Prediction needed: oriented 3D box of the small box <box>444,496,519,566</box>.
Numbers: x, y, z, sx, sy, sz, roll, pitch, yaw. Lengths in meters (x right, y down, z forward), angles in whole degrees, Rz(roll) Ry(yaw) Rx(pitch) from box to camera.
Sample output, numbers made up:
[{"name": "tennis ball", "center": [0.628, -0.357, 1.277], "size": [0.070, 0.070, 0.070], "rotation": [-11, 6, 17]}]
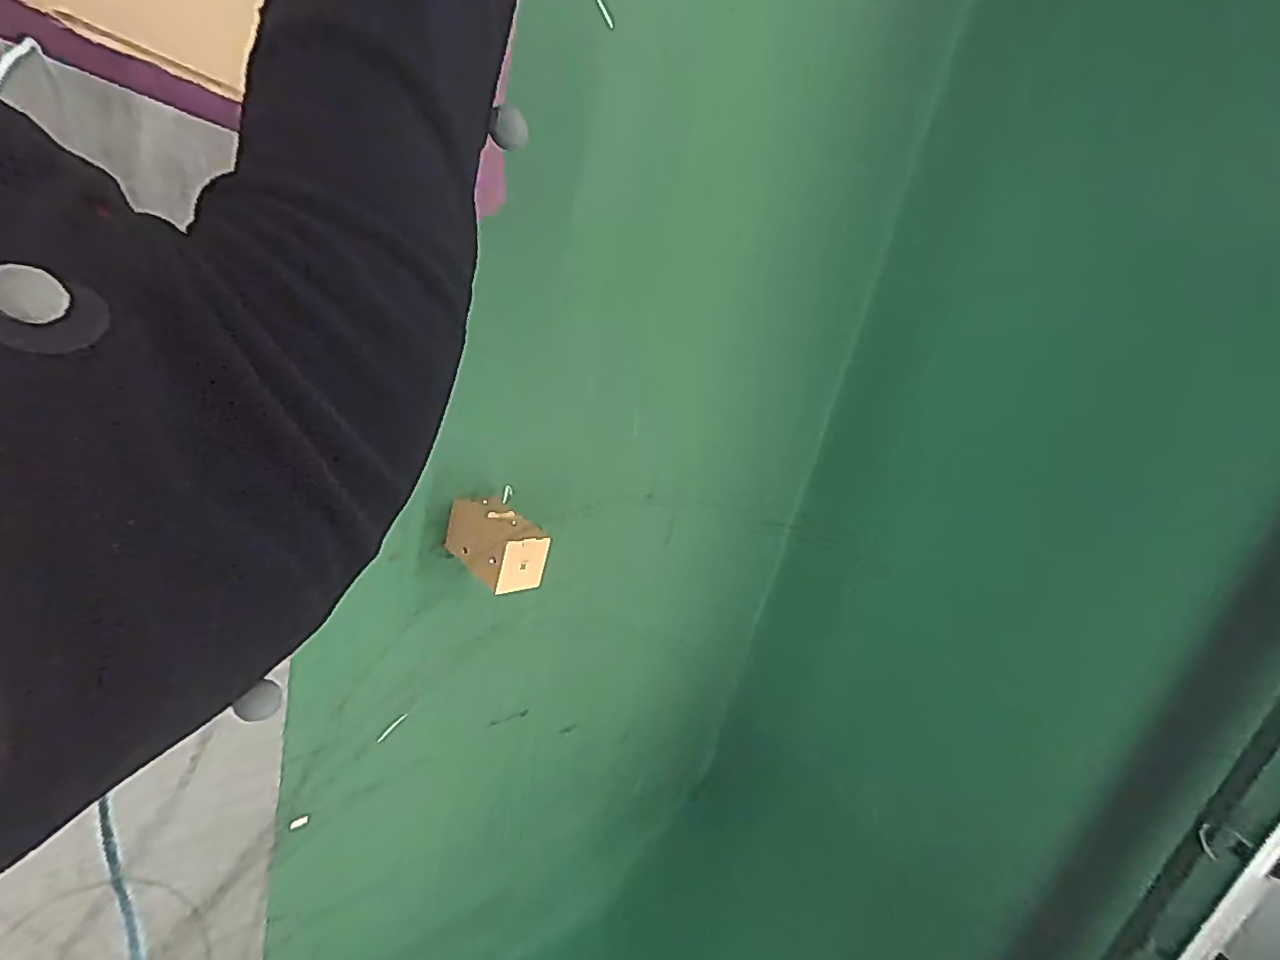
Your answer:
[{"name": "small box", "center": [-0.535, 0.166, 1.809], "size": [0.168, 0.176, 0.179], "rotation": [-2, 112, -50]}]

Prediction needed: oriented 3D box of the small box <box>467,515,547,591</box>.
[{"name": "small box", "center": [-0.424, 0.225, 1.705], "size": [0.168, 0.176, 0.179], "rotation": [0, 111, -49]}]
